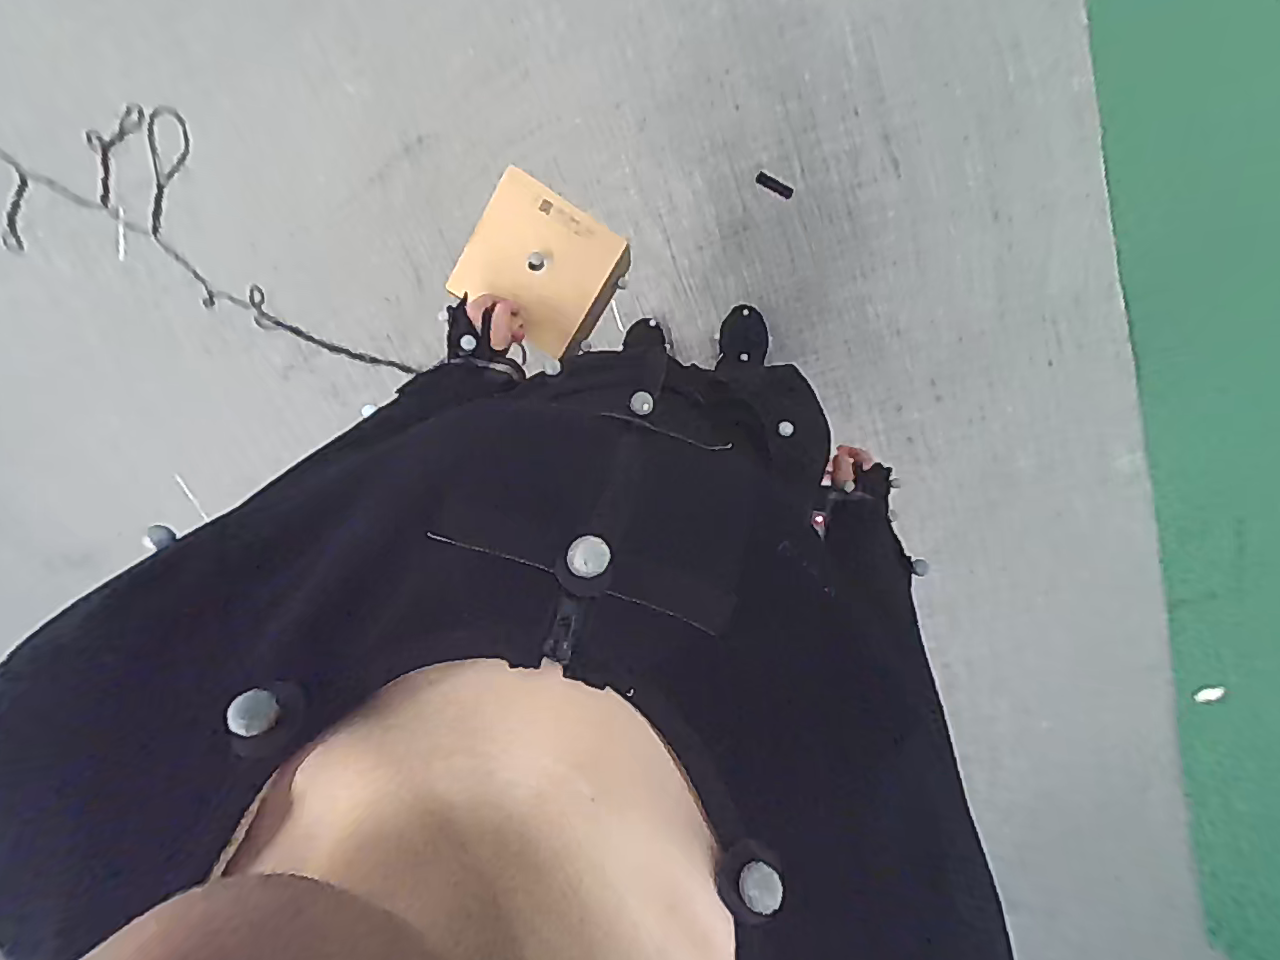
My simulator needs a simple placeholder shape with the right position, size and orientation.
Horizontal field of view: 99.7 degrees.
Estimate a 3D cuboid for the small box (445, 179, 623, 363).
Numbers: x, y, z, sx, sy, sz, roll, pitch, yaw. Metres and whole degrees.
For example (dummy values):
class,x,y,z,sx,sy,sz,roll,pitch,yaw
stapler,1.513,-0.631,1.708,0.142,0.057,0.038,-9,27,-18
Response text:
class,x,y,z,sx,sy,sz,roll,pitch,yaw
small box,-0.133,-0.276,0.741,0.168,0.179,0.176,29,102,-6
